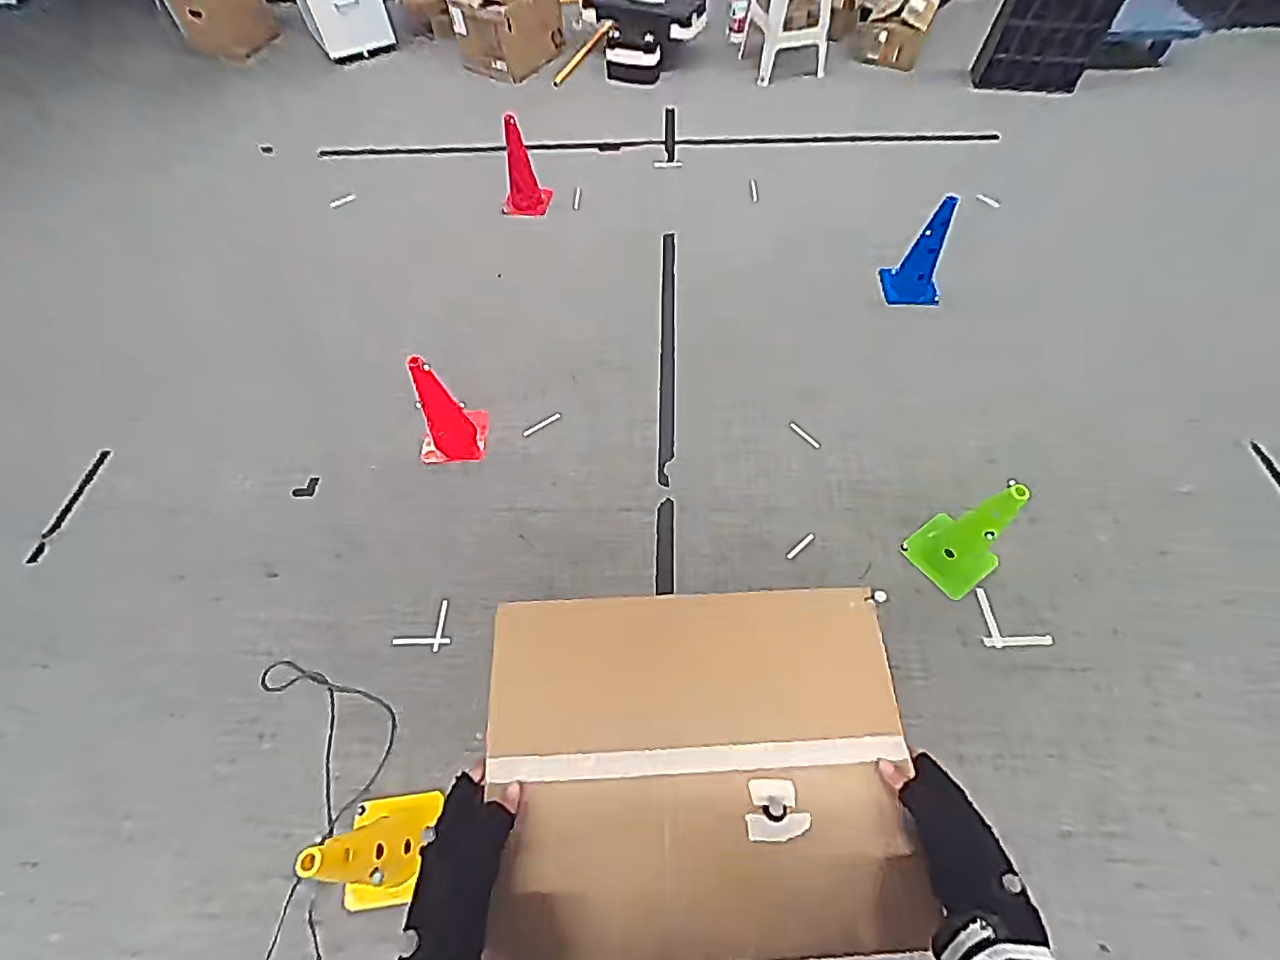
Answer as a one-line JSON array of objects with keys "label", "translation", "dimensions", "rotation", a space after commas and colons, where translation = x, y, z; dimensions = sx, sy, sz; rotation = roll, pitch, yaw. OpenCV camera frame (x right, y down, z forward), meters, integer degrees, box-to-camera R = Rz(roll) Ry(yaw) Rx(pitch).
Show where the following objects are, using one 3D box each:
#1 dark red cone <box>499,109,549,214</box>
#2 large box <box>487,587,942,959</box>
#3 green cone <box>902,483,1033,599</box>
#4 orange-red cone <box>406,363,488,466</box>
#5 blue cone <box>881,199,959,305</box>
[{"label": "dark red cone", "translation": [-0.520, -1.340, 2.279], "dimensions": [0.201, 0.394, 0.202], "rotation": [5, 59, 4]}, {"label": "large box", "translation": [0.055, 0.330, 0.658], "dimensions": [0.408, 0.320, 0.320], "rotation": [-3, 66, -2]}, {"label": "green cone", "translation": [0.864, 0.120, 1.365], "dimensions": [0.202, 0.368, 0.200], "rotation": [-33, 64, -18]}, {"label": "orange-red cone", "translation": [-0.612, -0.218, 1.628], "dimensions": [0.198, 0.360, 0.199], "rotation": [-3, 60, 2]}, {"label": "blue cone", "translation": [1.037, -0.830, 1.956], "dimensions": [0.192, 0.380, 0.193], "rotation": [3, 59, 3]}]
